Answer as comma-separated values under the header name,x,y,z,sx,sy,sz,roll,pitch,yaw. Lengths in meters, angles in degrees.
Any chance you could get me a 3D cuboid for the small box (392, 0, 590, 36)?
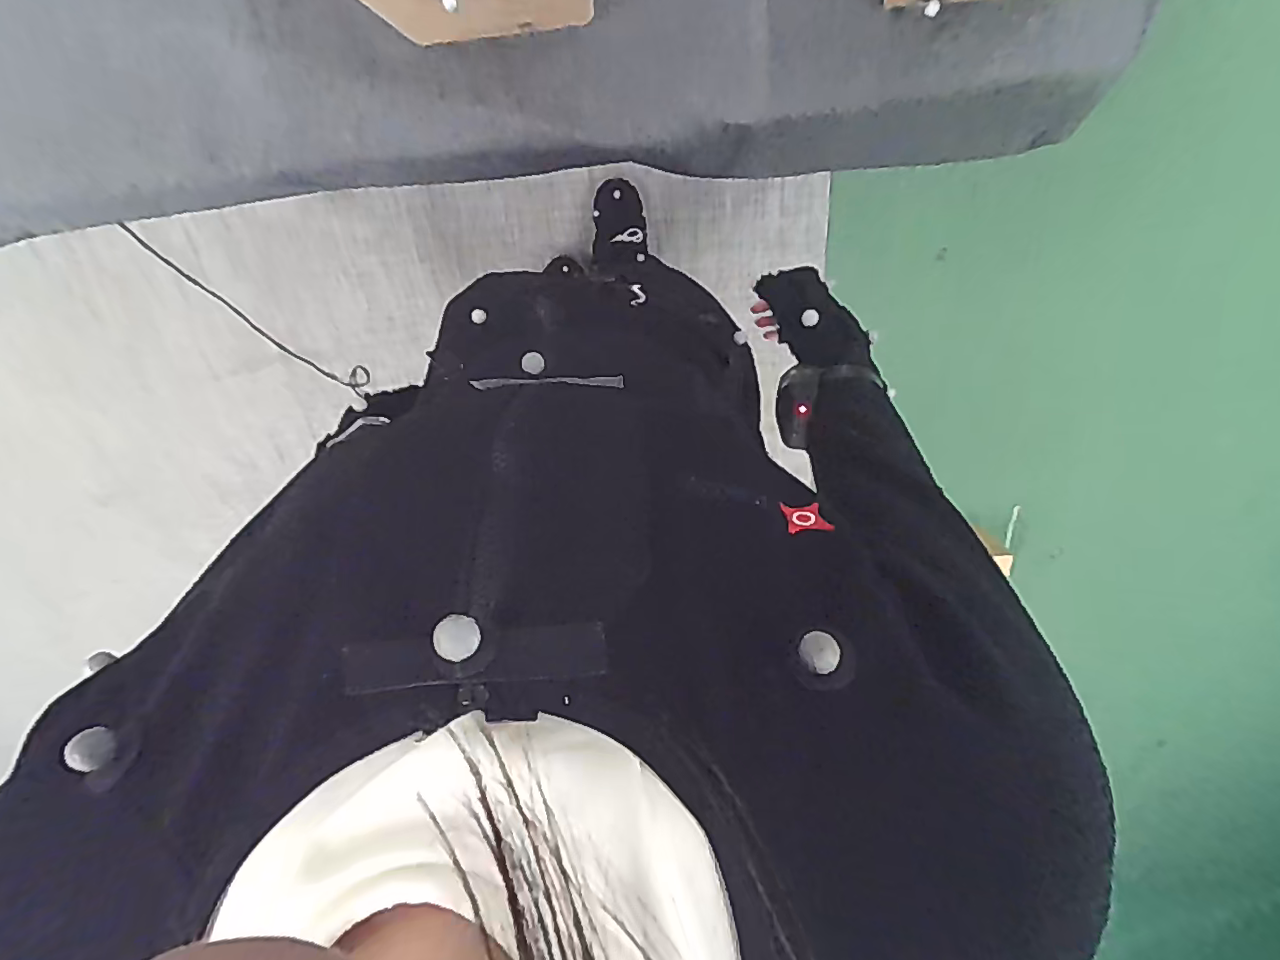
name,x,y,z,sx,sy,sz,roll,pitch,yaw
small box,-0.127,-0.451,0.380,0.168,0.176,0.179,-7,118,0
